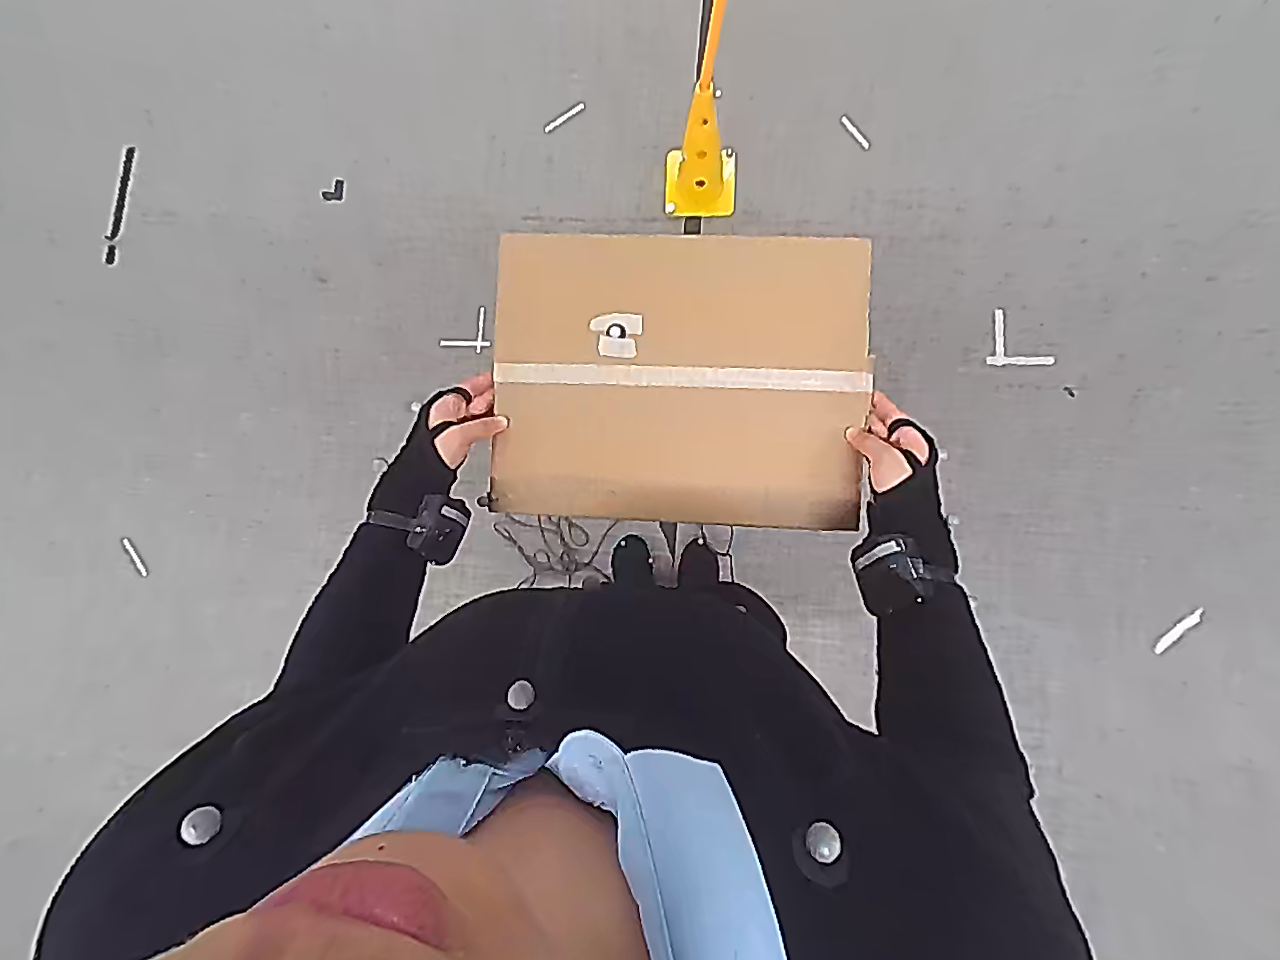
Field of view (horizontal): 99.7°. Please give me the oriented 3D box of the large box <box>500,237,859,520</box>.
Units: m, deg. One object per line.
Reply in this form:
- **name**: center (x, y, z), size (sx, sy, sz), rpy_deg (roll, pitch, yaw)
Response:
- **large box**: center (0.053, -0.115, 0.751), size (0.408, 0.320, 0.320), rpy_deg (2, 89, 5)
